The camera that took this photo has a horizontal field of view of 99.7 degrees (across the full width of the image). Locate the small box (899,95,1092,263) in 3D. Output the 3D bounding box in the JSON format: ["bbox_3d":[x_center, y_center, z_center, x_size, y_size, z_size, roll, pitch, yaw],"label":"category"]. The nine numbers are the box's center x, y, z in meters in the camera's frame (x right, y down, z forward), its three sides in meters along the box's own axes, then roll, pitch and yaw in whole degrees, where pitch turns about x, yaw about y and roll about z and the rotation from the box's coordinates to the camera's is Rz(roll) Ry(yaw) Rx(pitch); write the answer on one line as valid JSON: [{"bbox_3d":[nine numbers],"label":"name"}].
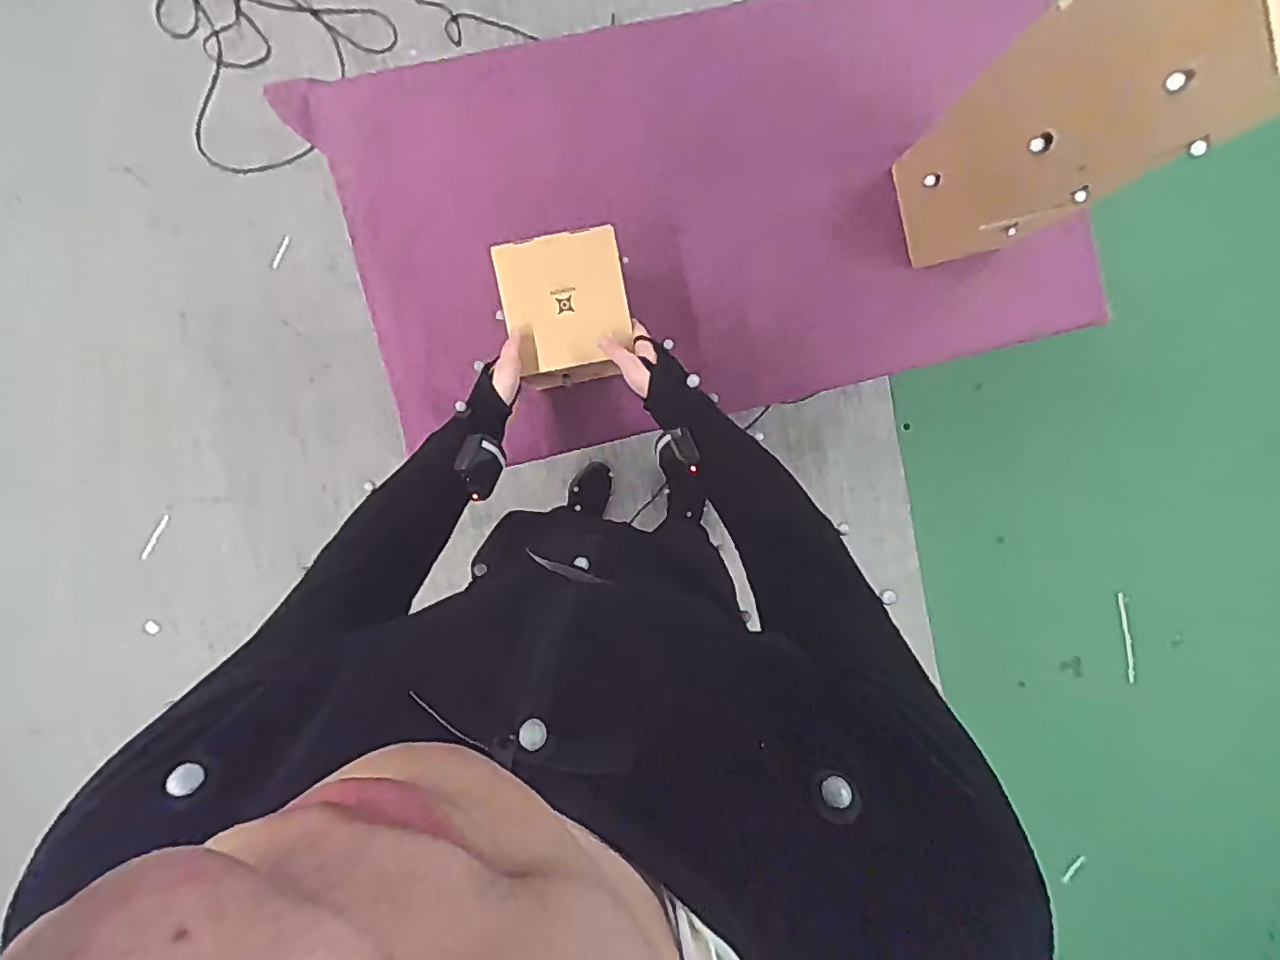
[{"bbox_3d":[0.522,-0.459,0.820,0.168,0.176,0.179,-15,94,-1],"label":"small box"}]

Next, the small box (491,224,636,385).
[{"bbox_3d":[-0.099,-0.240,0.789,0.168,0.176,0.179,-11,92,0],"label":"small box"}]

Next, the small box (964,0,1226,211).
[{"bbox_3d":[0.532,-0.450,0.654,0.168,0.176,0.179,-13,94,-3],"label":"small box"}]
